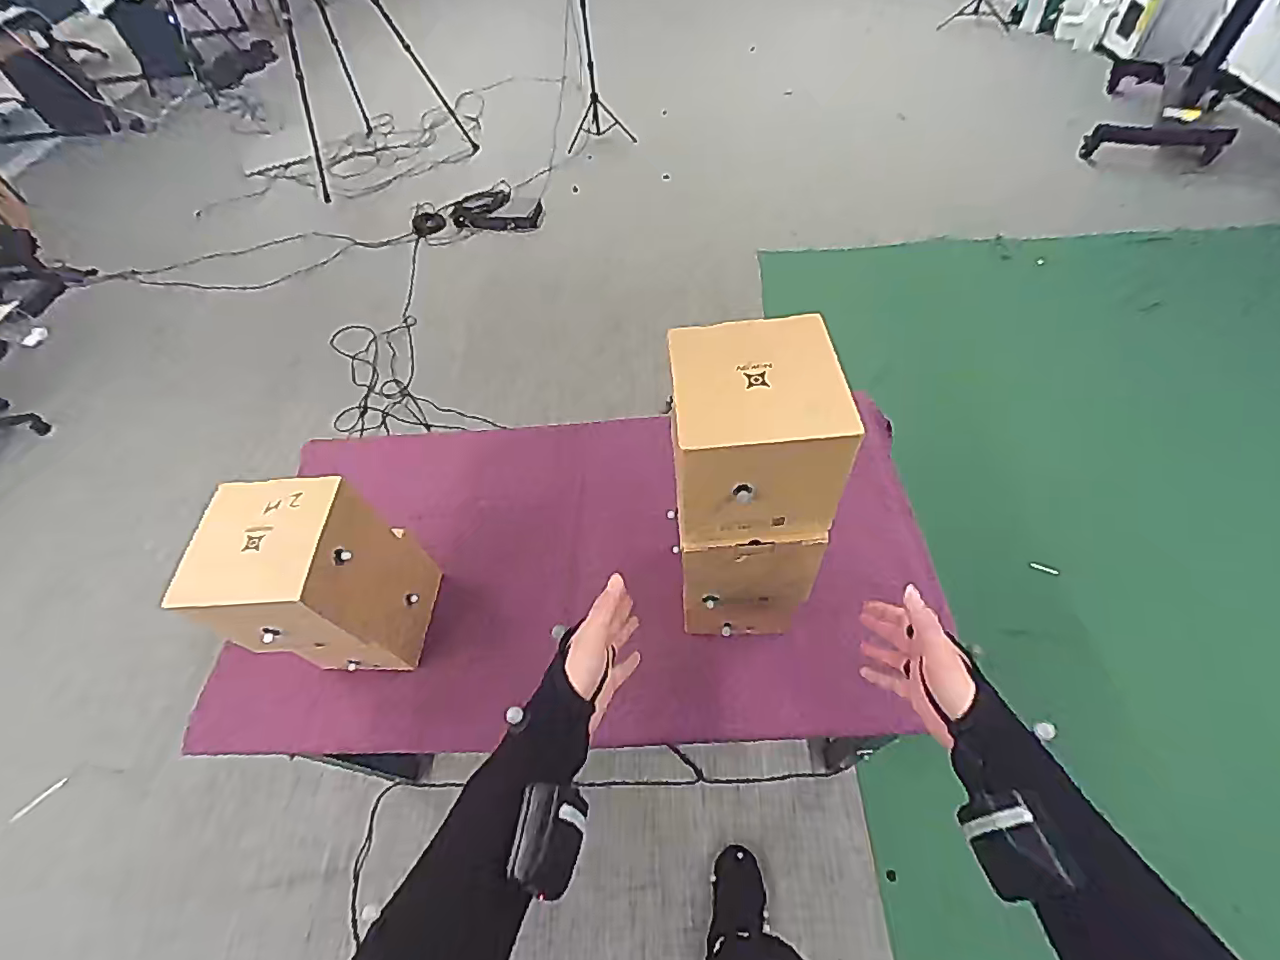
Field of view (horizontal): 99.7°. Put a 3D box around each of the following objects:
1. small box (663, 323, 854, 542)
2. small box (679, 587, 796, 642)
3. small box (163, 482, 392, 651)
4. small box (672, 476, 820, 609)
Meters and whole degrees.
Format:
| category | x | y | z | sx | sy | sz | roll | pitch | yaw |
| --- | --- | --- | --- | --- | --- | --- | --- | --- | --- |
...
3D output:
| category | x | y | z | sx | sy | sz | roll | pitch | yaw |
| --- | --- | --- | --- | --- | --- | --- | --- | --- | --- |
| small box | 0.117 | -0.042 | 0.594 | 0.168 | 0.176 | 0.179 | -5 | 52 | 4 |
| small box | 0.146 | 0.143 | 0.860 | 0.168 | 0.176 | 0.179 | -2 | 54 | 6 |
| small box | -0.461 | 0.123 | 0.726 | 0.168 | 0.176 | 0.179 | -3 | 55 | 3 |
| small box | 0.130 | 0.062 | 0.717 | 0.168 | 0.176 | 0.179 | -4 | 52 | 4 |
